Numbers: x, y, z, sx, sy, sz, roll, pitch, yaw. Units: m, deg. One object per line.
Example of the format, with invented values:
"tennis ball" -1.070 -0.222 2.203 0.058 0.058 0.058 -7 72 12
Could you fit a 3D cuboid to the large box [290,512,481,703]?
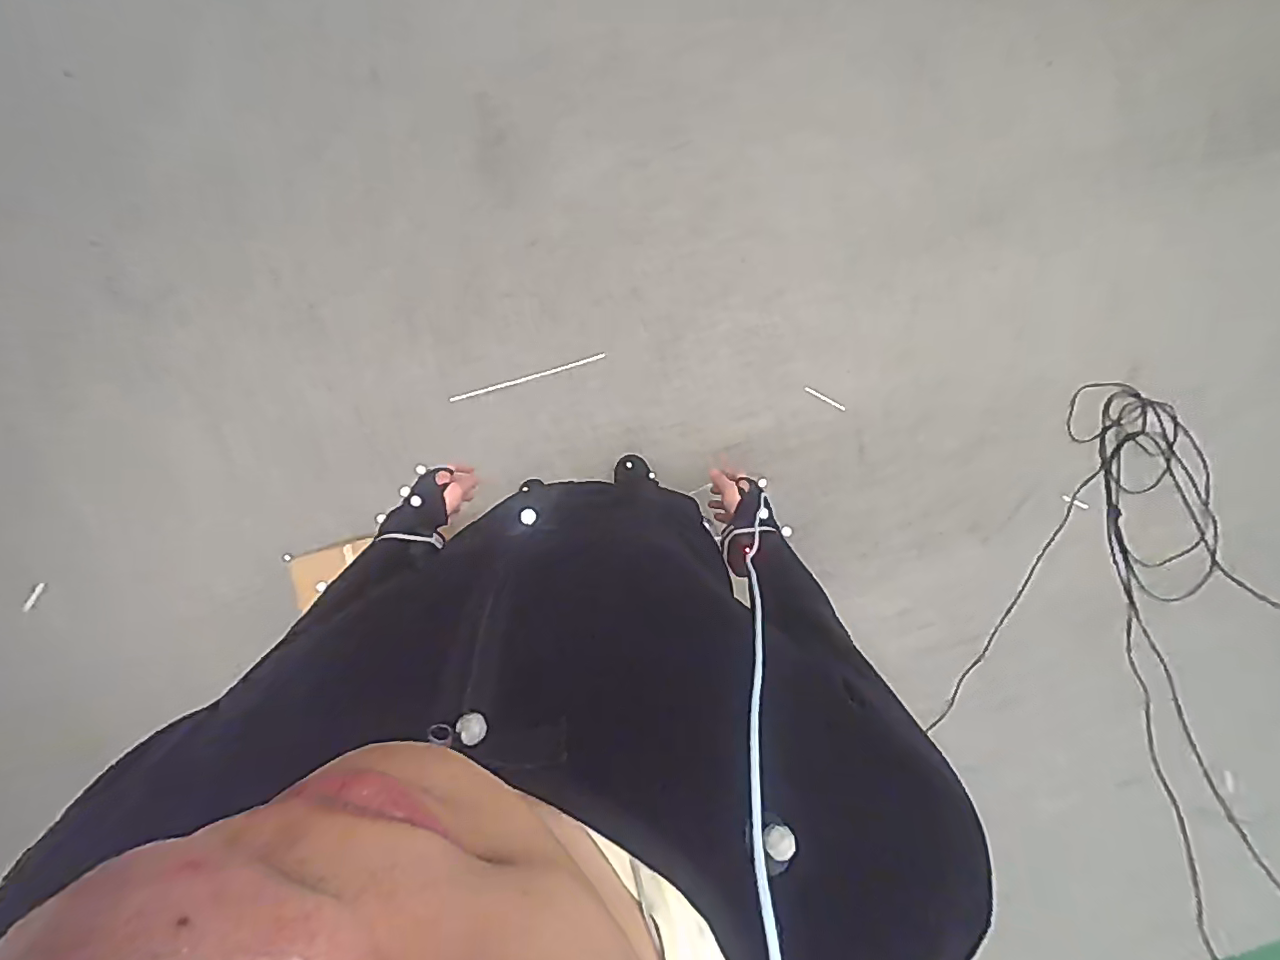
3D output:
"large box" -0.675 0.328 1.496 0.320 0.320 0.408 -14 93 -3
